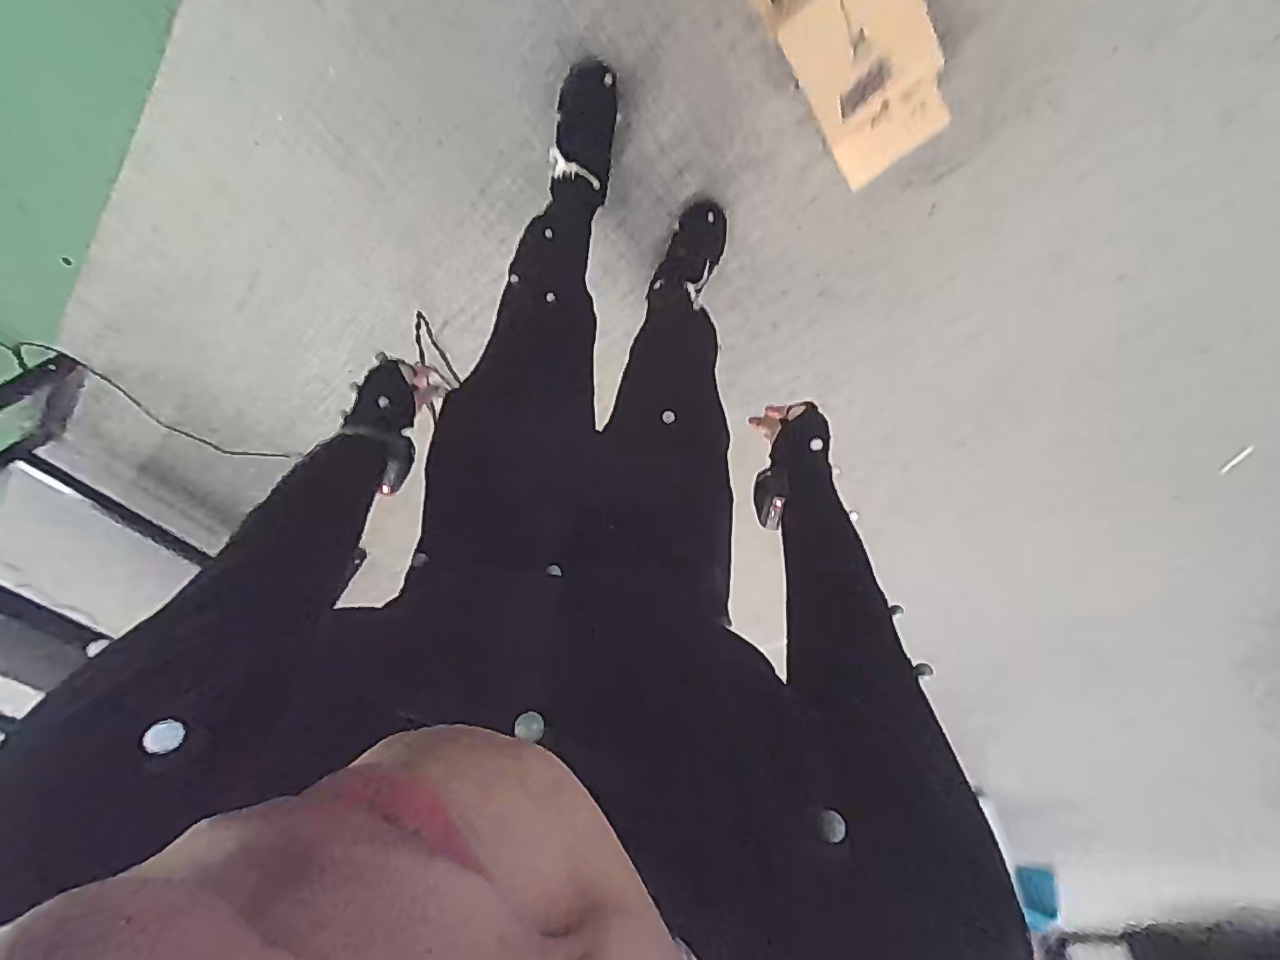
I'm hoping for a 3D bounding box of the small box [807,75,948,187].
[{"bbox_3d":[0.415,-0.673,0.973,0.179,0.176,0.168,-28,121,30],"label":"small box"}]

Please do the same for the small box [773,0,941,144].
[{"bbox_3d":[0.310,-0.644,0.796,0.168,0.176,0.179,-27,121,29],"label":"small box"}]
